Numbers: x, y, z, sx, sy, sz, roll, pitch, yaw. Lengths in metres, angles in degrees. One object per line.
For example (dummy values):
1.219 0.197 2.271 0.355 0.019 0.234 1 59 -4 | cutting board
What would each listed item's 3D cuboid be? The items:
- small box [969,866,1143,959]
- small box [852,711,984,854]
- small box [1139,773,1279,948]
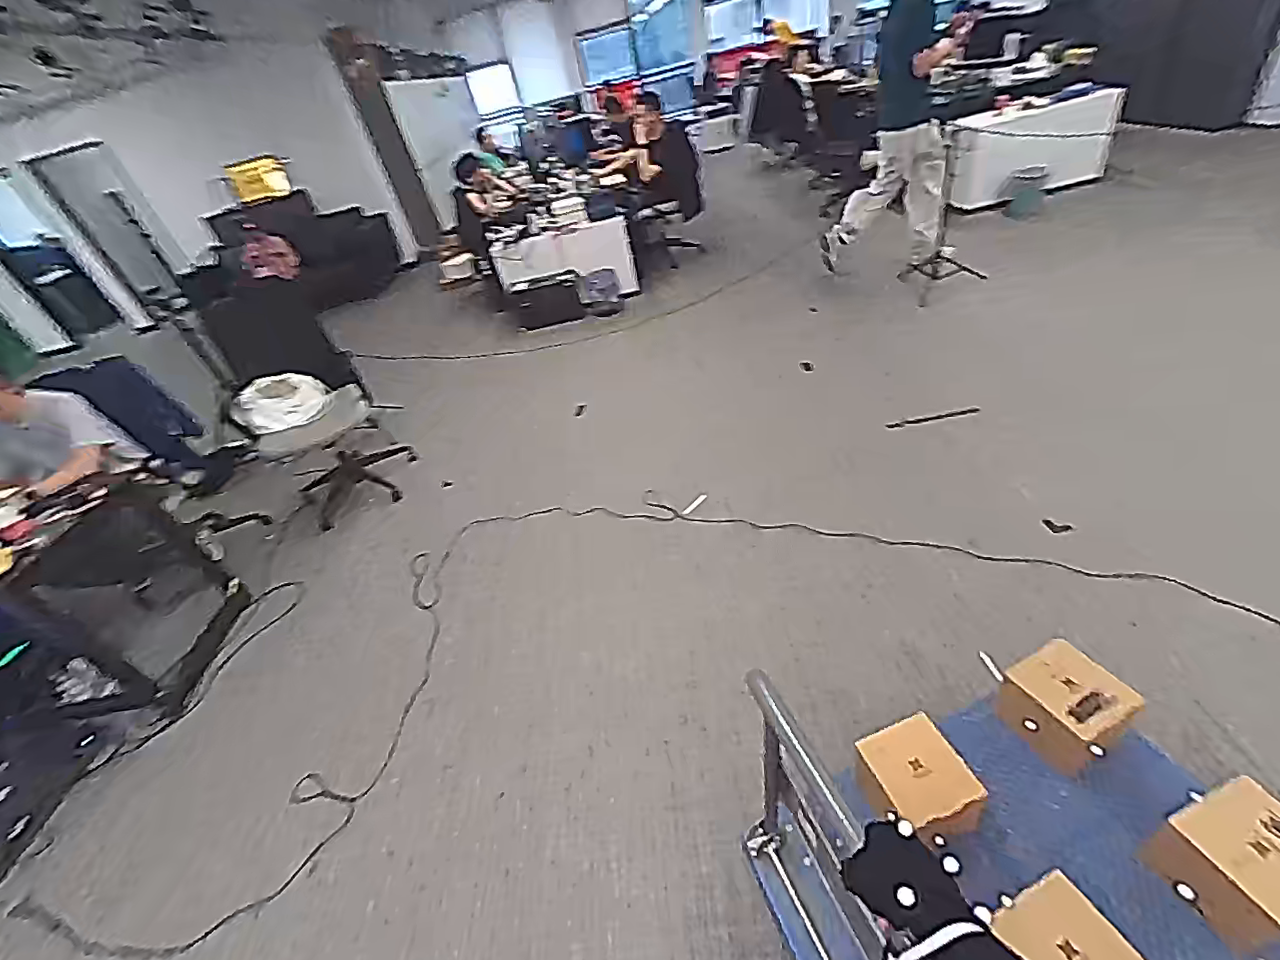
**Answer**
0.669 0.780 0.869 0.168 0.176 0.179 -24 38 -11 | small box
0.555 0.620 1.110 0.168 0.176 0.179 -20 40 -7 | small box
1.014 0.645 0.918 0.179 0.176 0.168 -23 38 -8 | small box
